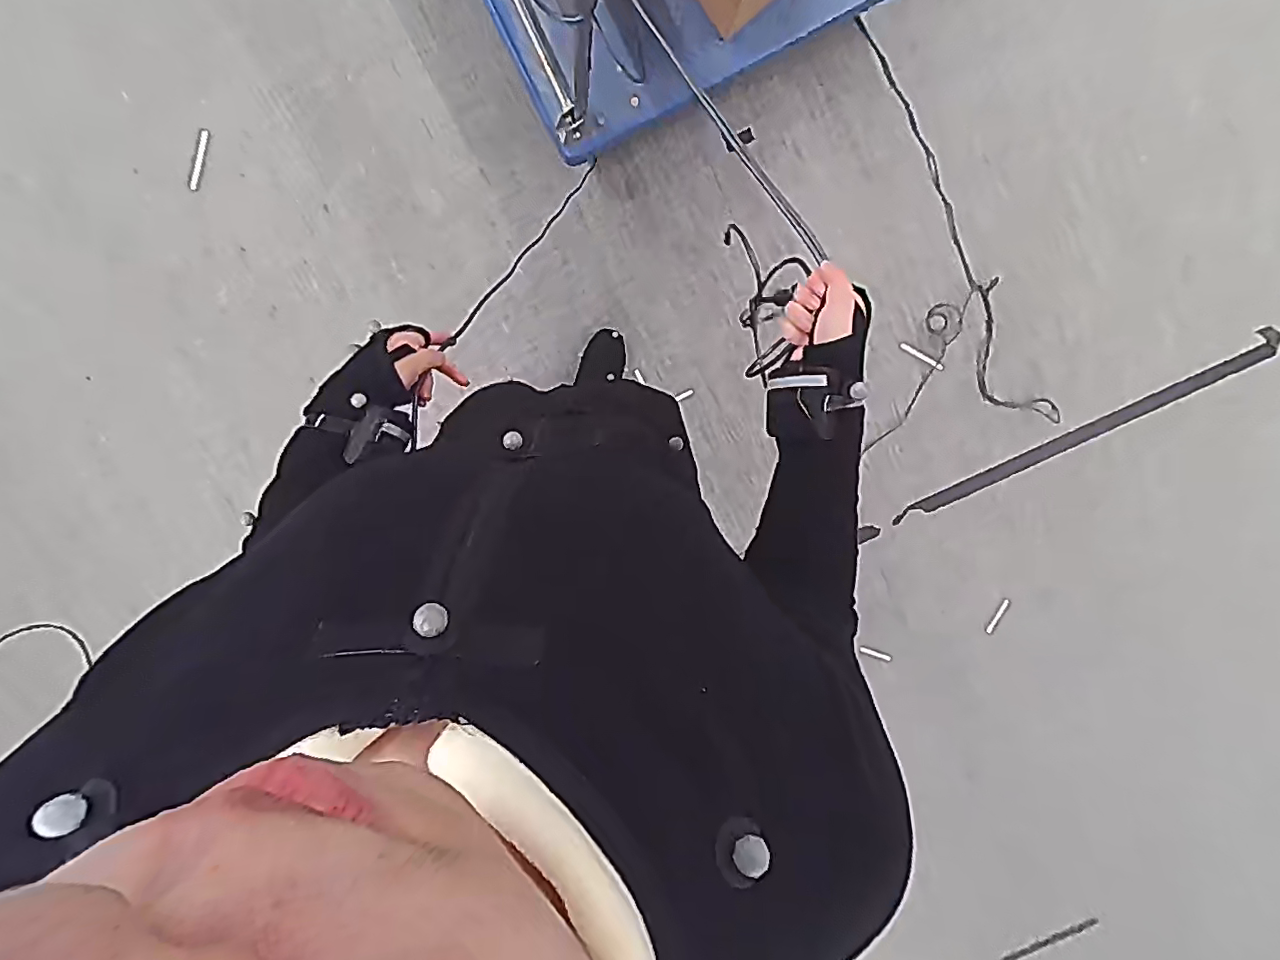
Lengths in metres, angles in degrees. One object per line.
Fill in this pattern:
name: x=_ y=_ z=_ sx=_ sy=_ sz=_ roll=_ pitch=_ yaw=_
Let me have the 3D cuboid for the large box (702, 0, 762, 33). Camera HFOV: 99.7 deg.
large box: x=0.169 y=-1.115 z=0.907 sx=0.320 sy=0.320 sz=0.408 roll=-41 pitch=104 yaw=7
